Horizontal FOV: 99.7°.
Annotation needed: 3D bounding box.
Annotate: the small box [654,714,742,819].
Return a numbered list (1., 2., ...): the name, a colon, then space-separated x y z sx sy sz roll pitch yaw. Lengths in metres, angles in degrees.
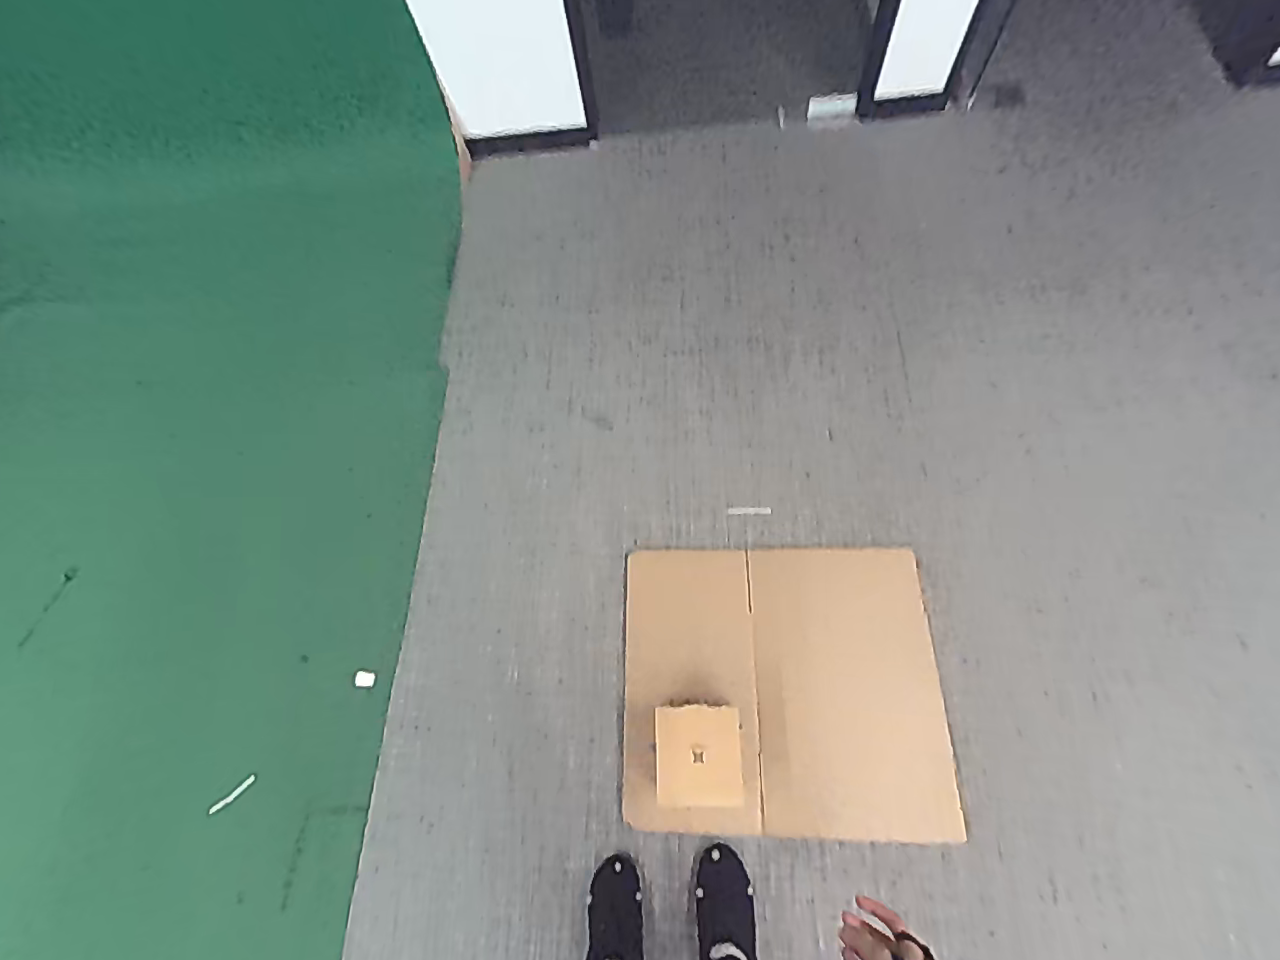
1. small box: 0.116 0.574 1.101 0.168 0.176 0.179 -3 66 5
